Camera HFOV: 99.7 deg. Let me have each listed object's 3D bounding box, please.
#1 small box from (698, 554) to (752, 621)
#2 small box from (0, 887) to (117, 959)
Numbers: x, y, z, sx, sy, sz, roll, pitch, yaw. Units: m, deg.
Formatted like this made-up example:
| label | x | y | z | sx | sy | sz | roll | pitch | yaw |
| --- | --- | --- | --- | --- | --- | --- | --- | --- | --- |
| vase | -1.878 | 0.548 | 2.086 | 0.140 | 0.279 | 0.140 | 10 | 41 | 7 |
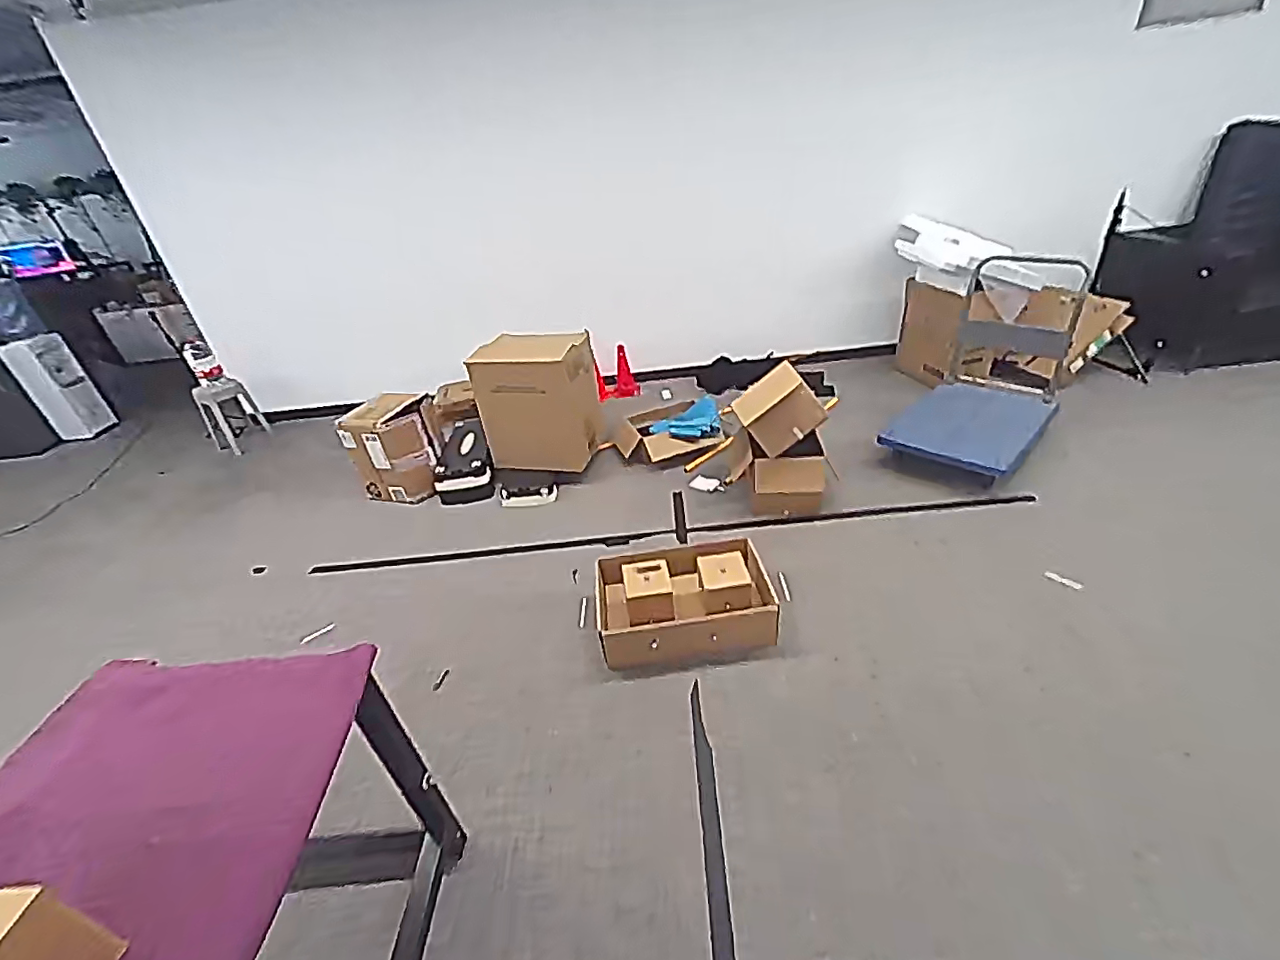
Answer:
| label | x | y | z | sx | sy | sz | roll | pitch | yaw |
| --- | --- | --- | --- | --- | --- | --- | --- | --- | --- |
| small box | 0.311 | 0.398 | 1.978 | 0.168 | 0.176 | 0.179 | -7 | 30 | 0 |
| small box | -0.747 | 0.589 | 0.596 | 0.168 | 0.176 | 0.179 | -5 | 32 | 3 |
